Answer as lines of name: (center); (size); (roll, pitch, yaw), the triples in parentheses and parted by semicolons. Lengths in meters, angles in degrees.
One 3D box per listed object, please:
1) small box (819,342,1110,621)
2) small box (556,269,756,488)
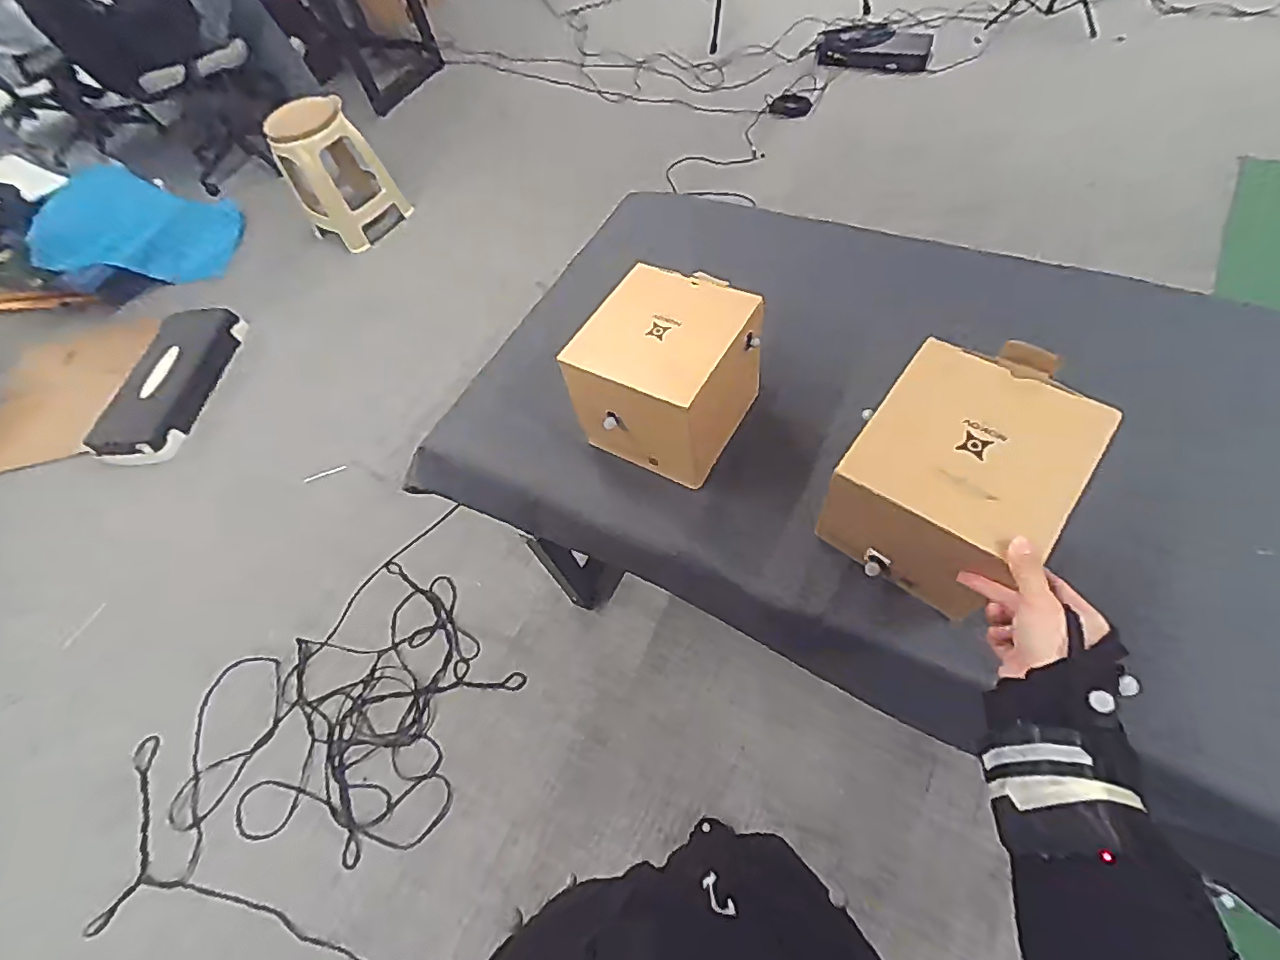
small box: (0.292, 0.007, 0.526); (0.168, 0.176, 0.179); (30, 72, 24)
small box: (0.030, -0.118, 0.657); (0.168, 0.176, 0.179); (24, 64, 22)
